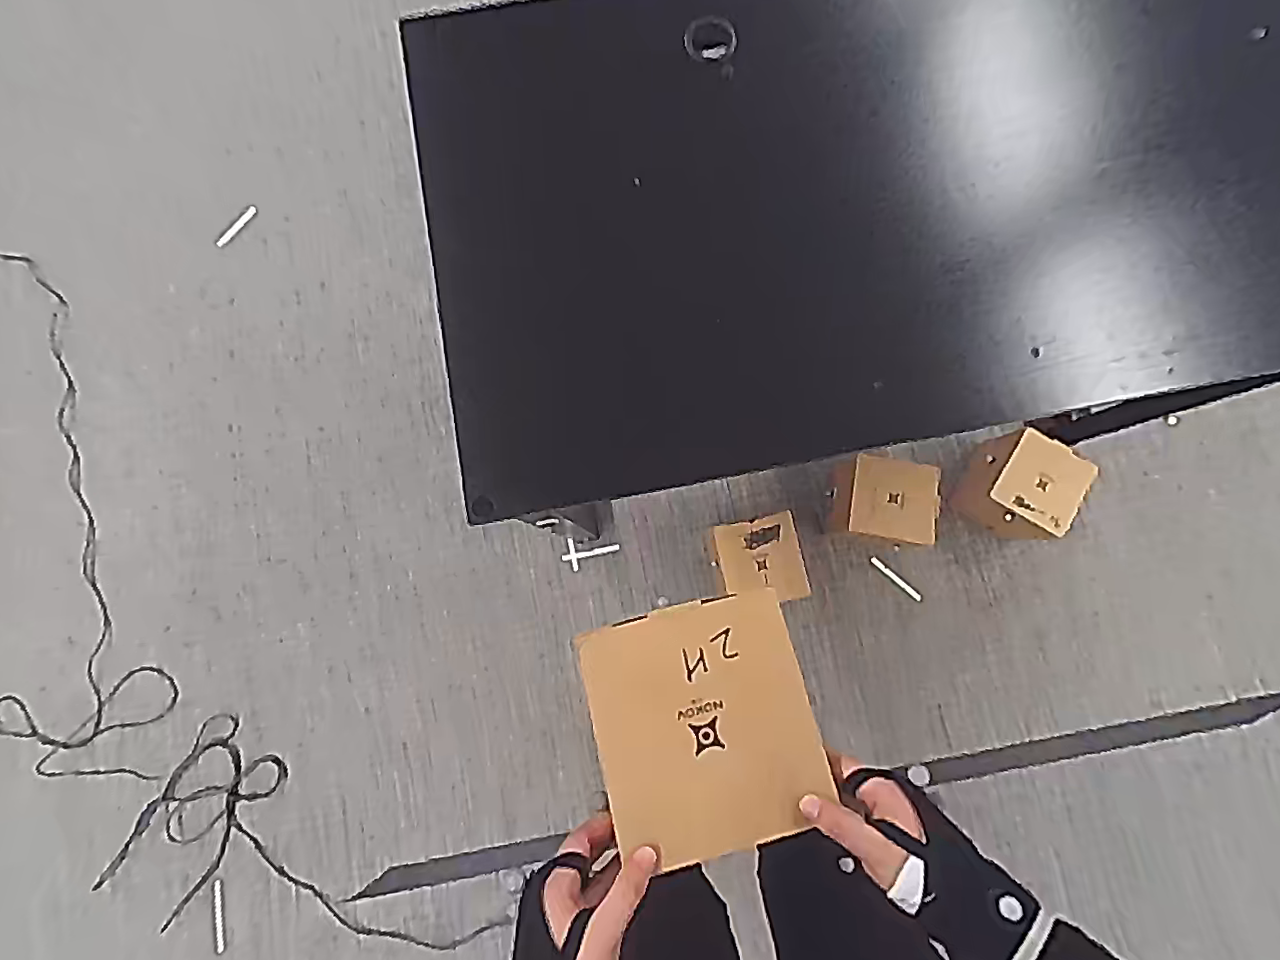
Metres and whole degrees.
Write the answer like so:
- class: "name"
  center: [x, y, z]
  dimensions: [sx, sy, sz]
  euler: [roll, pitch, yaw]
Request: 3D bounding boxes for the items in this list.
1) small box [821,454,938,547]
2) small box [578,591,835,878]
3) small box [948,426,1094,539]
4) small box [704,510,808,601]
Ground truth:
- class: "small box"
  center: [0.516, 0.051, 1.182]
  dimensions: [0.179, 0.176, 0.168]
  euler: [9, 80, 3]
- class: "small box"
  center: [0.046, 0.207, 0.488]
  dimensions: [0.168, 0.176, 0.179]
  euler: [-12, 75, -5]
- class: "small box"
  center: [0.817, 0.014, 1.180]
  dimensions: [0.168, 0.176, 0.179]
  euler: [32, 83, 6]
- class: "small box"
  center: [0.240, 0.172, 1.166]
  dimensions: [0.168, 0.176, 0.179]
  euler: [-12, 82, -1]
